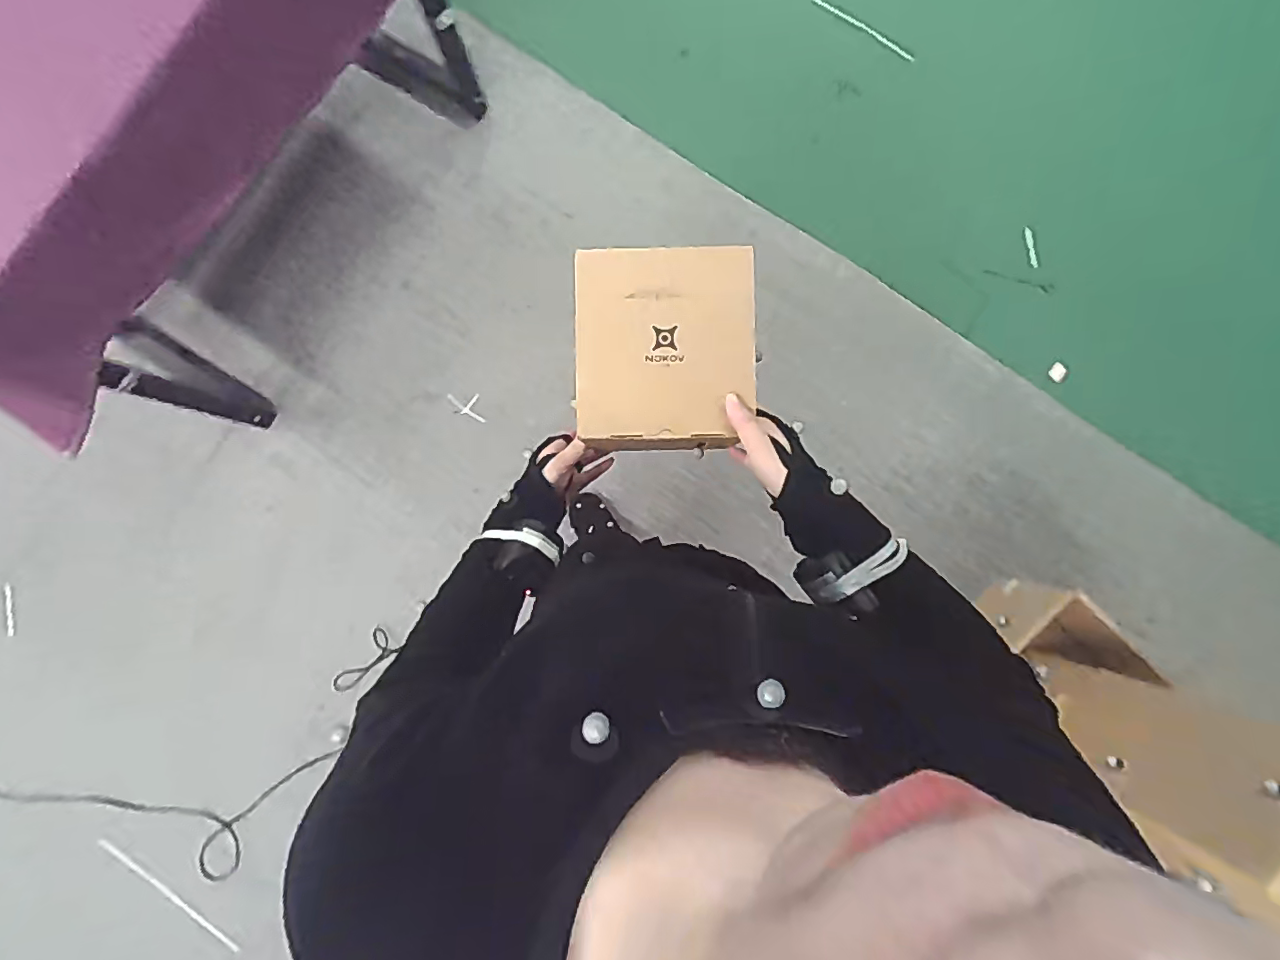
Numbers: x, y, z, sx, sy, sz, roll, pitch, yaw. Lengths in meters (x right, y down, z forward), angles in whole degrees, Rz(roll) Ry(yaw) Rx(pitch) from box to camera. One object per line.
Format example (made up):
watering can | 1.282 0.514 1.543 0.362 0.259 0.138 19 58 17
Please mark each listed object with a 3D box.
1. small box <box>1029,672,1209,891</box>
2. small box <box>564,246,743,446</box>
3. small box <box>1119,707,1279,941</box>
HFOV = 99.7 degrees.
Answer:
small box | 0.712 0.404 0.763 0.179 0.176 0.168 -44 86 -2
small box | 0.013 -0.126 0.574 0.168 0.176 0.179 -1 89 0
small box | 0.706 0.389 0.599 0.179 0.176 0.168 -45 85 -2
